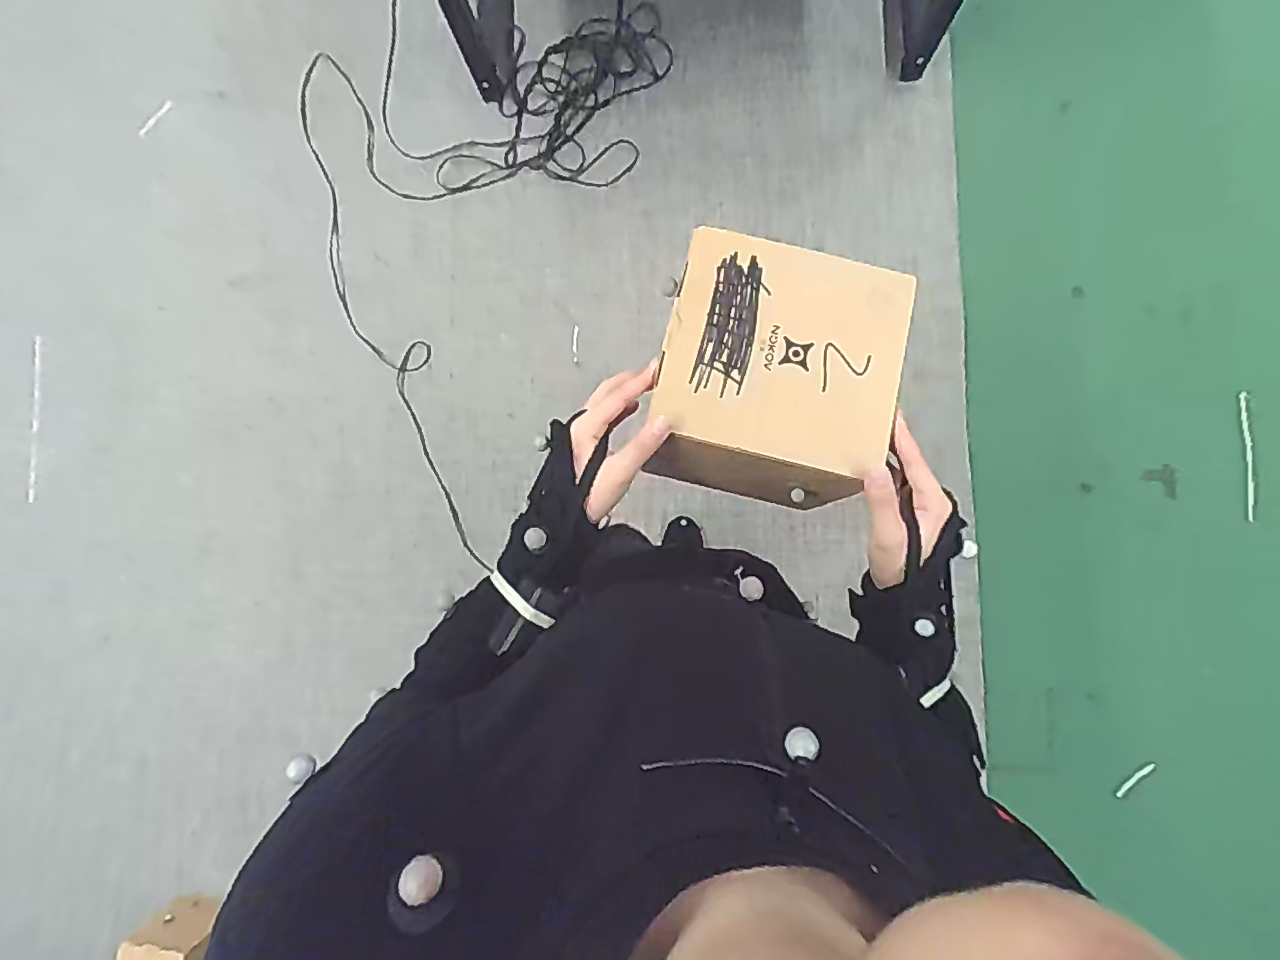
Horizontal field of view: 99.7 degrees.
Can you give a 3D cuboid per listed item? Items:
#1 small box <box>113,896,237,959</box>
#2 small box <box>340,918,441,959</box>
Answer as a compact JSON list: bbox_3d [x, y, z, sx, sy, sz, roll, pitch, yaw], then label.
[{"bbox_3d":[-1.114,1.151,1.297,0.168,0.176,0.179,6,87,5],"label":"small box"},{"bbox_3d":[-0.591,1.170,1.264,0.179,0.176,0.168,2,86,3],"label":"small box"}]
